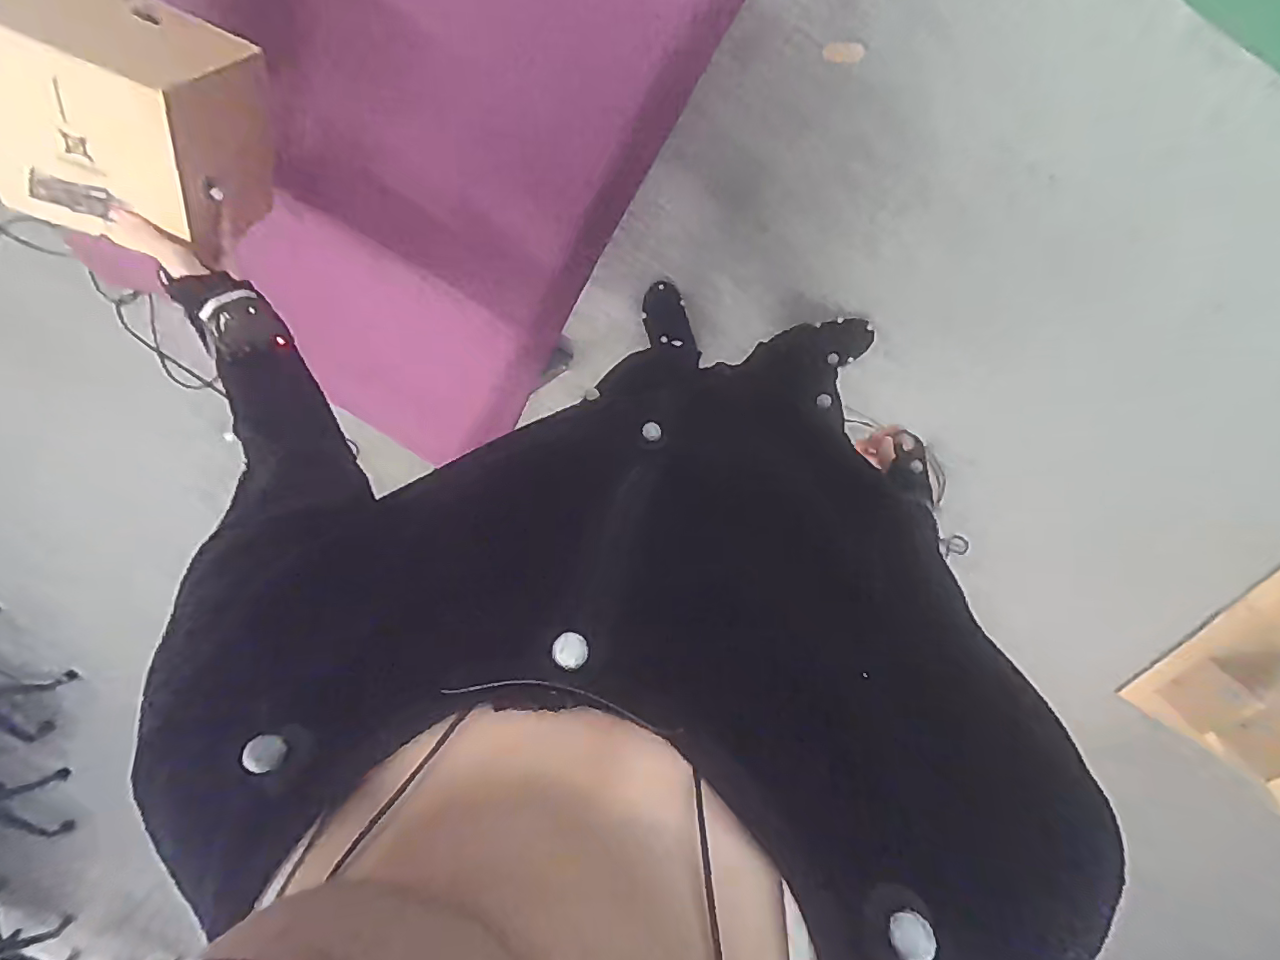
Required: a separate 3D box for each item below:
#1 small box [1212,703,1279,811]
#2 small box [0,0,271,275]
[{"bbox_3d":[1.607,0.697,1.343,0.168,0.176,0.179,-36,103,19],"label":"small box"},{"bbox_3d":[-0.486,-0.342,0.522,0.168,0.176,0.179,17,137,-17],"label":"small box"}]
